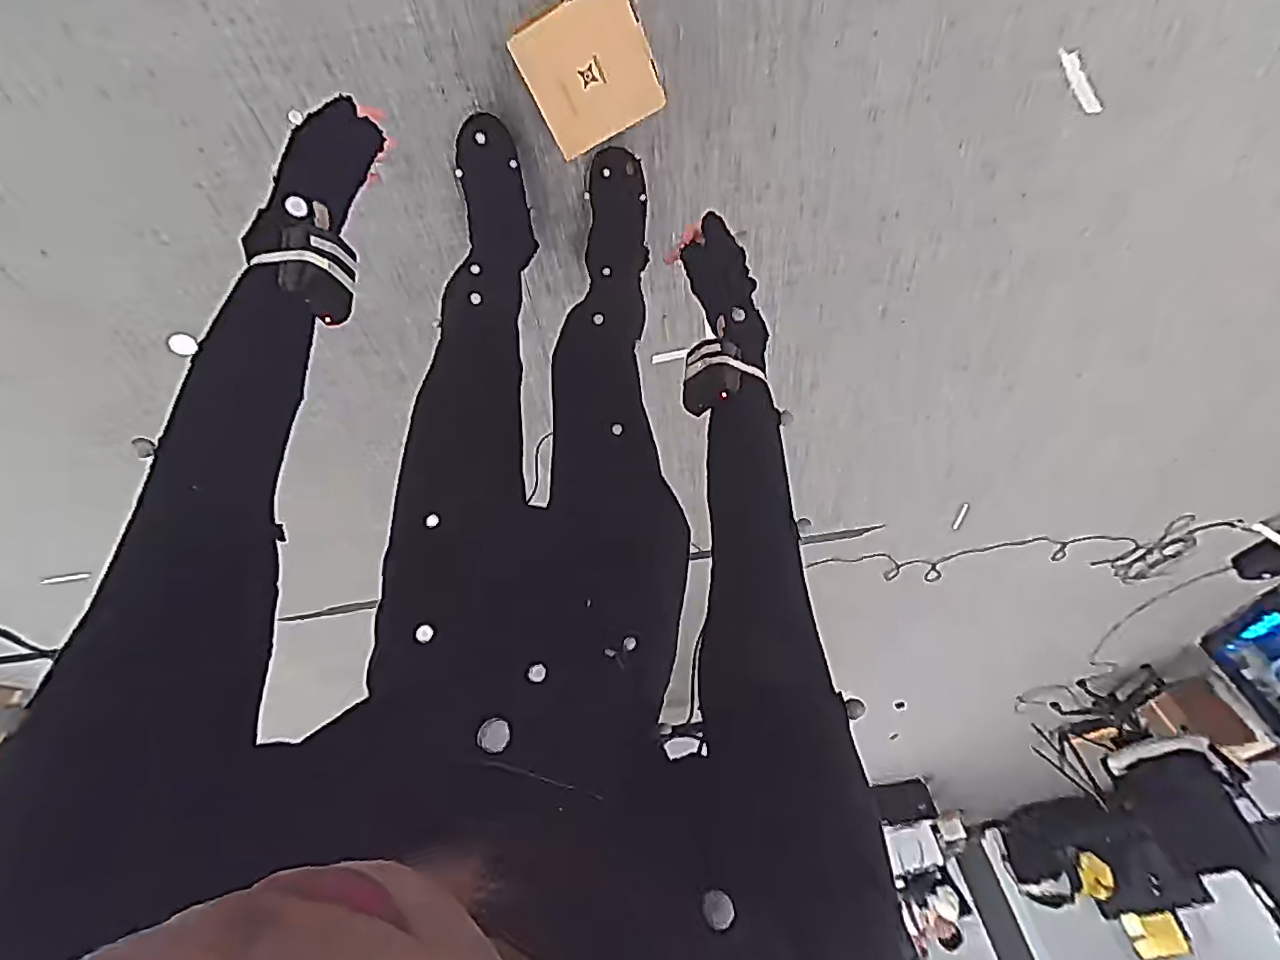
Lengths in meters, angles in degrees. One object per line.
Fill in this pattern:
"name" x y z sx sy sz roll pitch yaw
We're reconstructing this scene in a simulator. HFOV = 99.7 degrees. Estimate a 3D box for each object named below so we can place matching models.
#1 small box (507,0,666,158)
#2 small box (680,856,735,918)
"small box" -0.079 -0.632 0.813 0.179 0.176 0.168 -22 135 15
"small box" 0.261 1.613 2.140 0.179 0.176 0.168 -17 136 10
